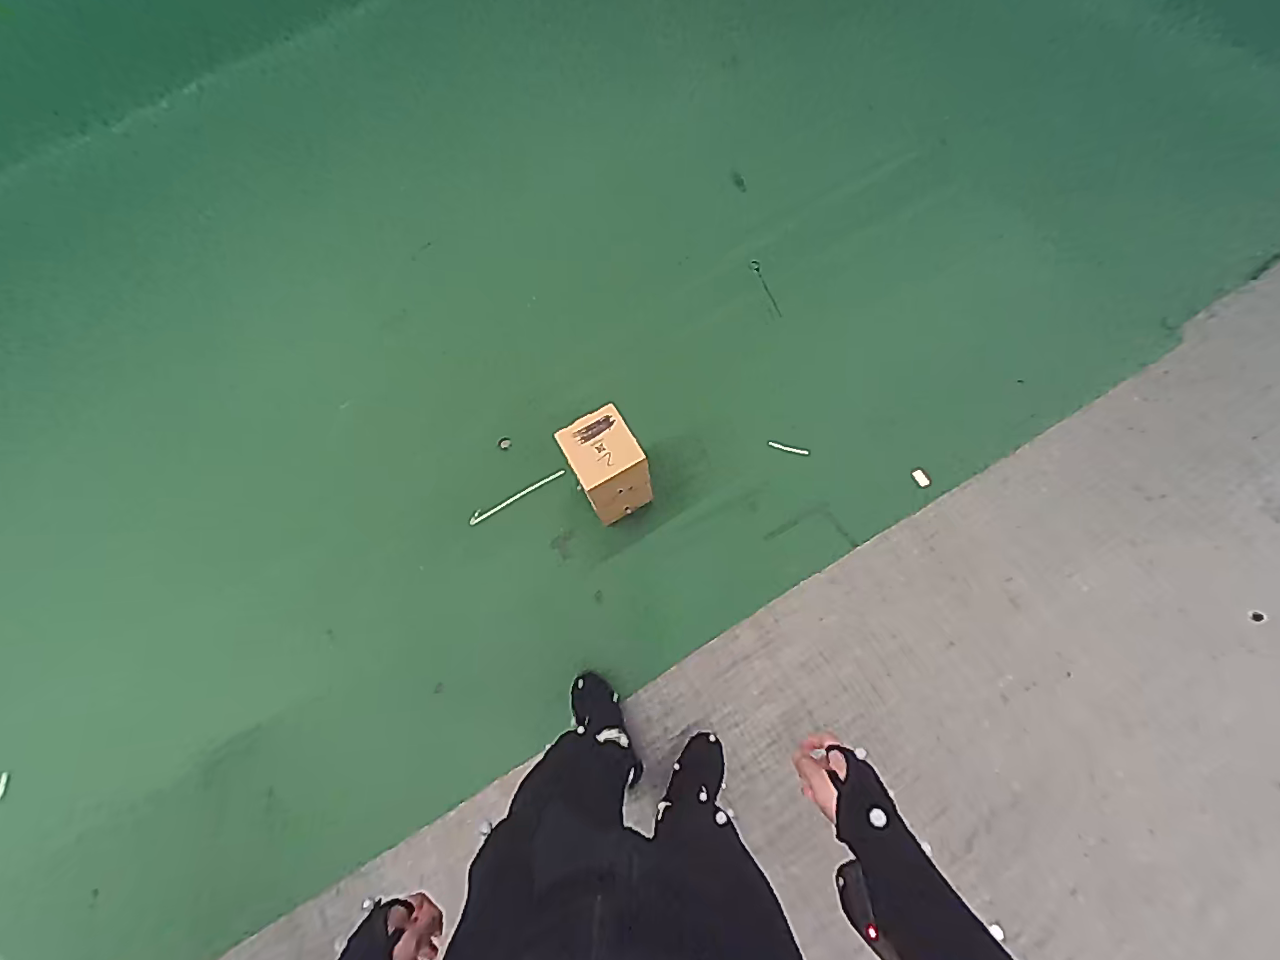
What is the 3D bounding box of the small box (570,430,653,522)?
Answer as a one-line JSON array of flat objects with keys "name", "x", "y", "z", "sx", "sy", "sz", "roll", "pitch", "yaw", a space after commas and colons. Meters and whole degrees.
[{"name": "small box", "x": -0.075, "y": -0.006, "z": 1.528, "sx": 0.168, "sy": 0.176, "sz": 0.179, "roll": -29, "pitch": 72, "yaw": -4}]
